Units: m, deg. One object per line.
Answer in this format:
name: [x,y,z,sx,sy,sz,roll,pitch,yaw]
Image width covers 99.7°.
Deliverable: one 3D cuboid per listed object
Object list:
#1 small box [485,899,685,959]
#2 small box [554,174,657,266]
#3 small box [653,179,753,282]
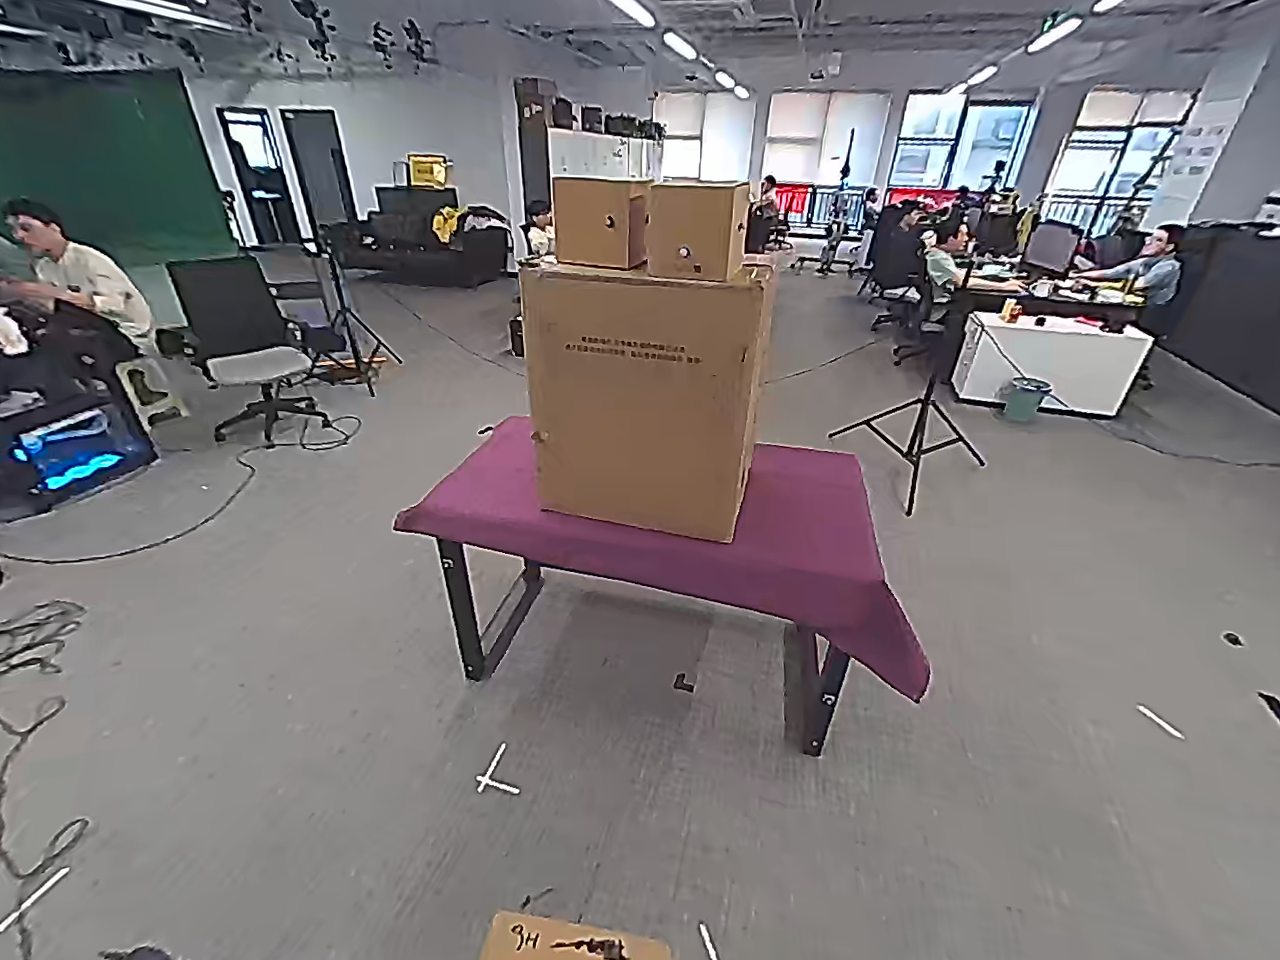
small box: [-0.056,0.469,0.396,0.168,0.176,0.179,18,-2,-7]
small box: [-0.072,-0.573,1.192,0.179,0.176,0.168,11,31,15]
small box: [0.126,-0.511,1.100,0.168,0.176,0.179,10,32,16]
